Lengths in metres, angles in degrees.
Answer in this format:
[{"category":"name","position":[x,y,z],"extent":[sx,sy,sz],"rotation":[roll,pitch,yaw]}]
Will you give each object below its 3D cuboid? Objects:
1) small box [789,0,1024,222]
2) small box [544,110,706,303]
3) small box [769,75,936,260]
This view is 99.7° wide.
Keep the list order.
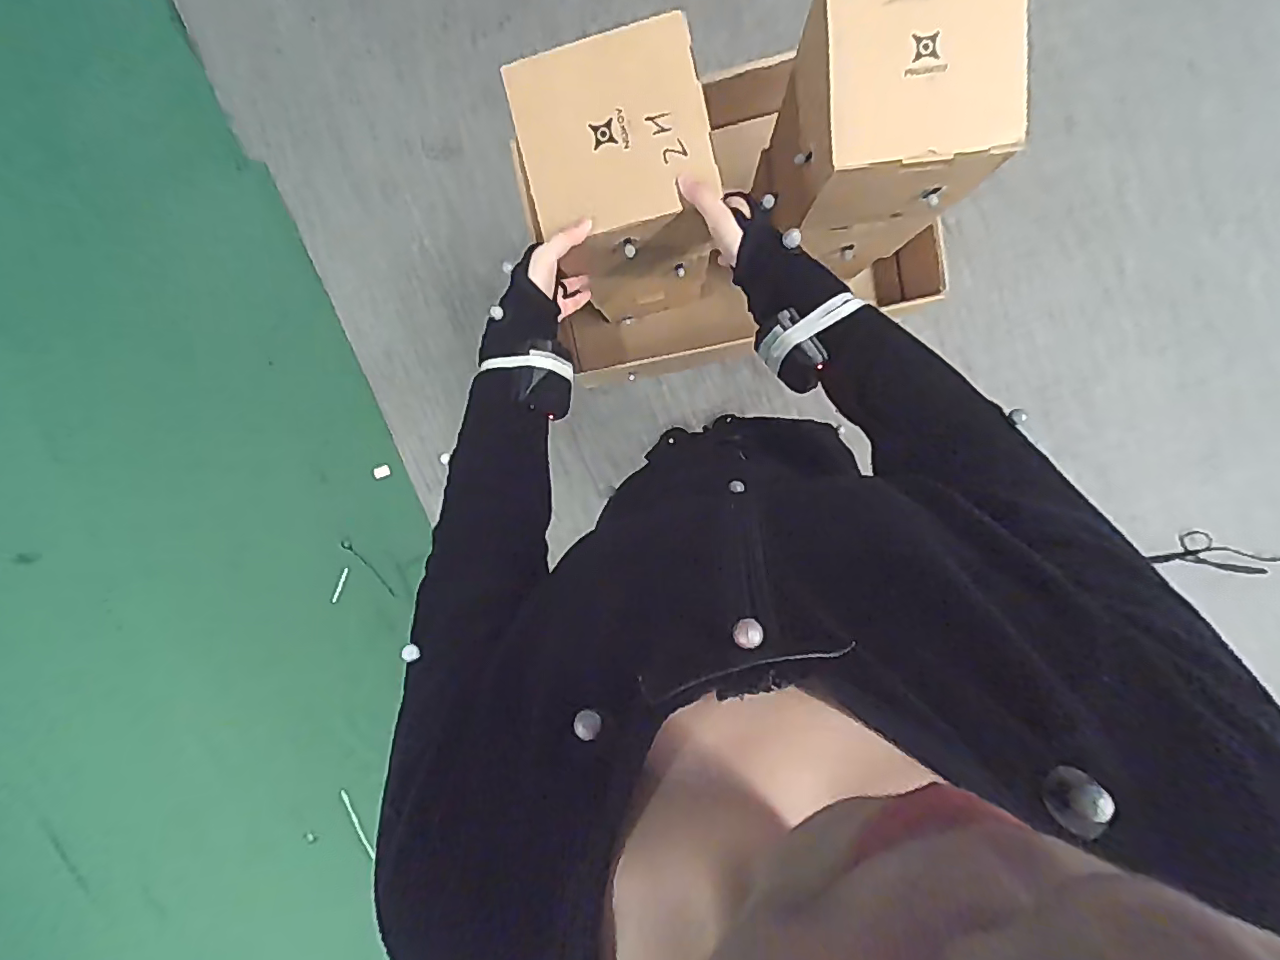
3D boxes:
[{"category":"small box","position":[0.248,-0.375,0.541],"extent":[0.168,0.176,0.179],"rotation":[-4,96,6]},{"category":"small box","position":[-0.012,-0.355,0.739],"extent":[0.179,0.176,0.168],"rotation":[-12,97,6]},{"category":"small box","position":[0.265,-0.397,0.702],"extent":[0.168,0.176,0.179],"rotation":[-4,98,6]}]
